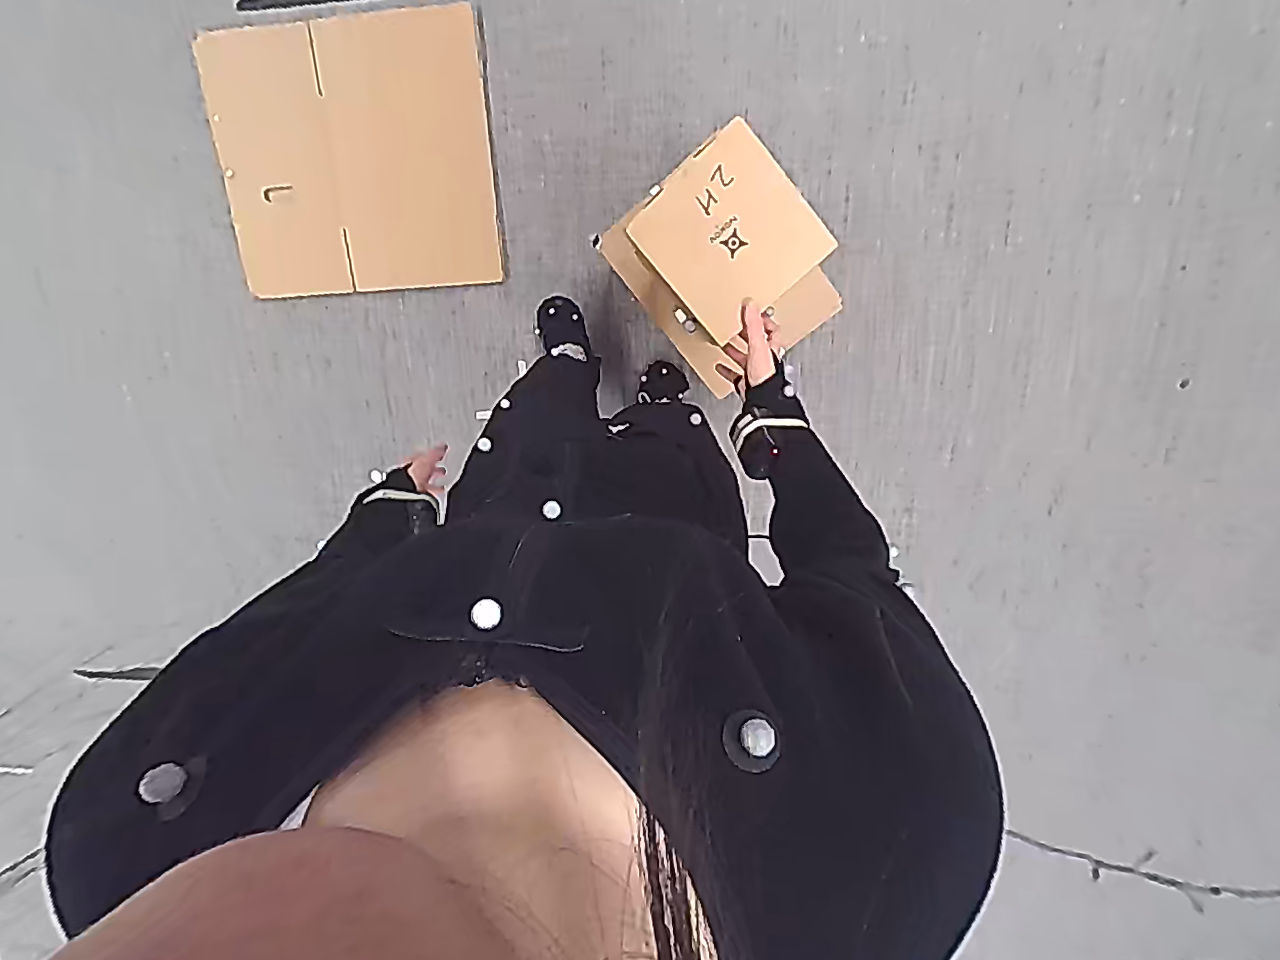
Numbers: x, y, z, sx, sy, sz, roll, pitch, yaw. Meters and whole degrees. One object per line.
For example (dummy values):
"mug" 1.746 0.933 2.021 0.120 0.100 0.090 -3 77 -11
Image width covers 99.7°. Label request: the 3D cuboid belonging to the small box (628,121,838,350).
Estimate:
"small box" 0.108 -0.284 0.668 0.168 0.176 0.179 -40 98 13
